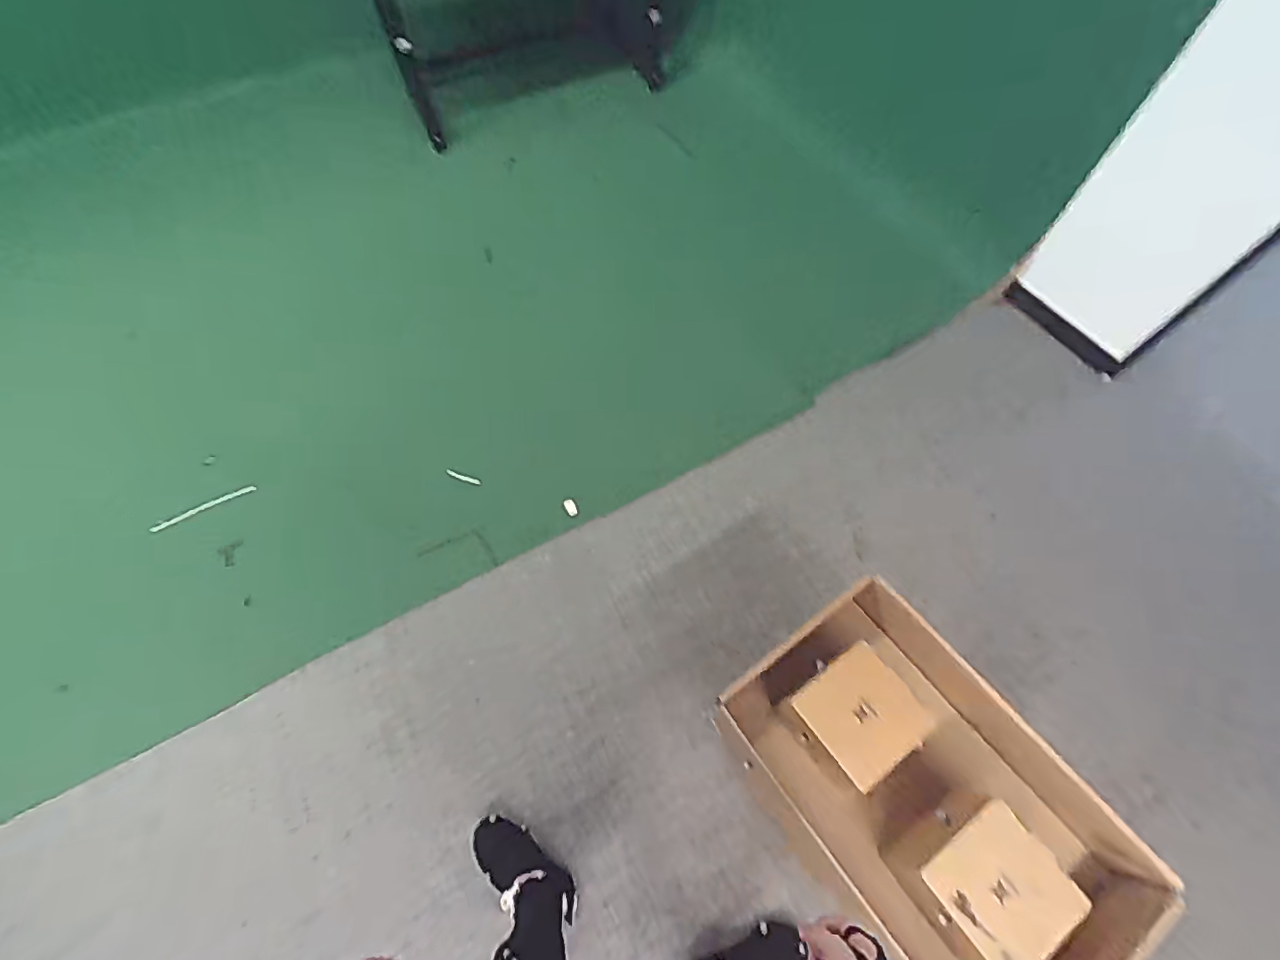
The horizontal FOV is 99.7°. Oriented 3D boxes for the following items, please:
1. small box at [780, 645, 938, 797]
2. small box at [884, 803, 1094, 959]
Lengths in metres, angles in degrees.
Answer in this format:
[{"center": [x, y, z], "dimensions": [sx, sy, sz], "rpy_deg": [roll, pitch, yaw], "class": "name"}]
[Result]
[{"center": [0.364, 0.421, 0.942], "dimensions": [0.179, 0.176, 0.168], "rpy_deg": [-32, 66, -16], "class": "small box"}, {"center": [0.516, 0.626, 0.829], "dimensions": [0.179, 0.176, 0.168], "rpy_deg": [-31, 65, -15], "class": "small box"}]
